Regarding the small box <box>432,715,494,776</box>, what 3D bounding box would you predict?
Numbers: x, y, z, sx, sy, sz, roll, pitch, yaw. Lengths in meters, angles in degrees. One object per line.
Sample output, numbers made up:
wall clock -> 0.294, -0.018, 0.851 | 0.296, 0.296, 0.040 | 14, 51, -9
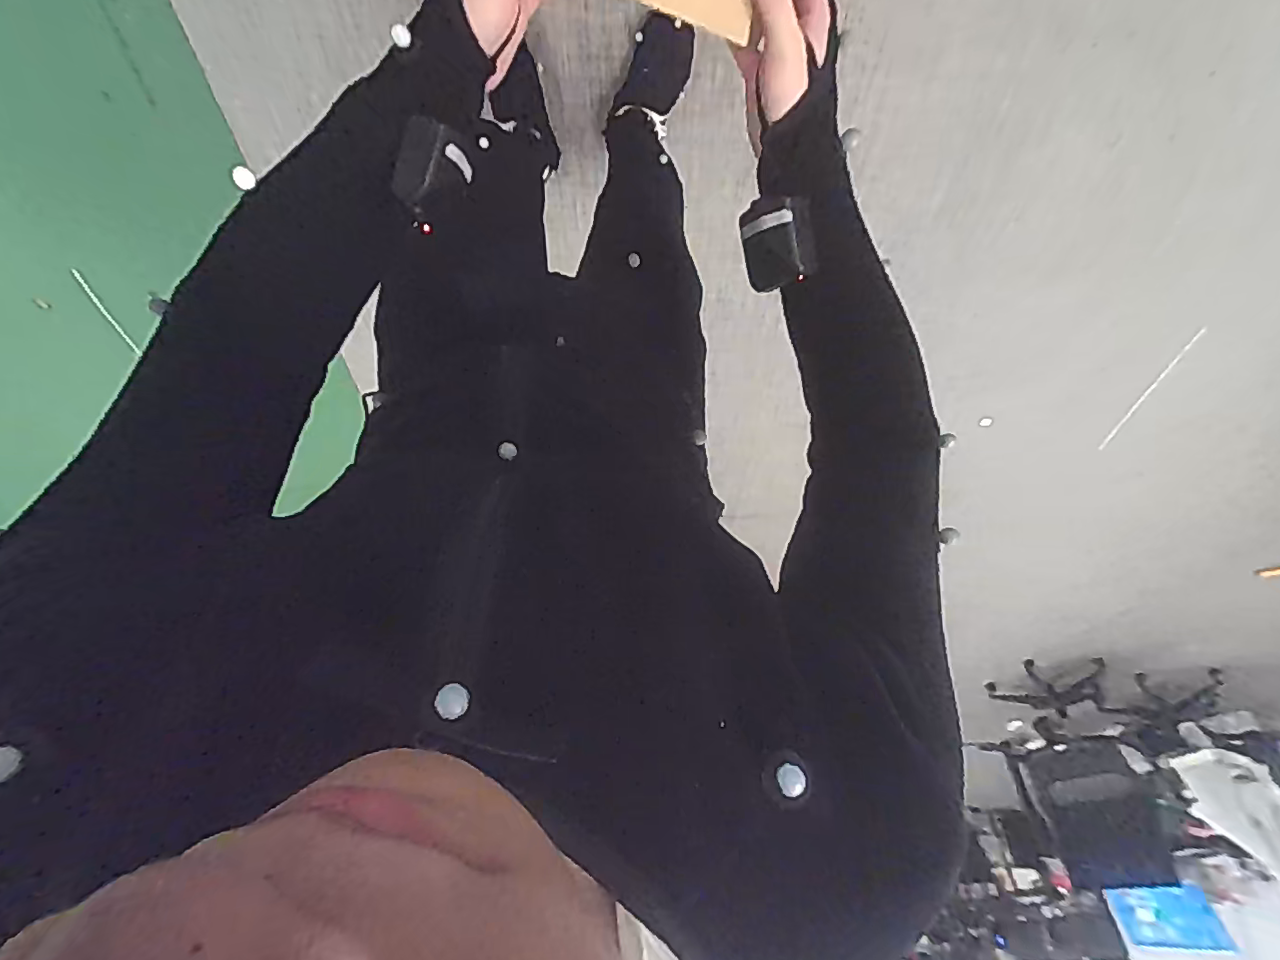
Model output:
small box -> -0.648, 0.987, 2.000 | 0.168, 0.176, 0.179 | 2, 139, -1
